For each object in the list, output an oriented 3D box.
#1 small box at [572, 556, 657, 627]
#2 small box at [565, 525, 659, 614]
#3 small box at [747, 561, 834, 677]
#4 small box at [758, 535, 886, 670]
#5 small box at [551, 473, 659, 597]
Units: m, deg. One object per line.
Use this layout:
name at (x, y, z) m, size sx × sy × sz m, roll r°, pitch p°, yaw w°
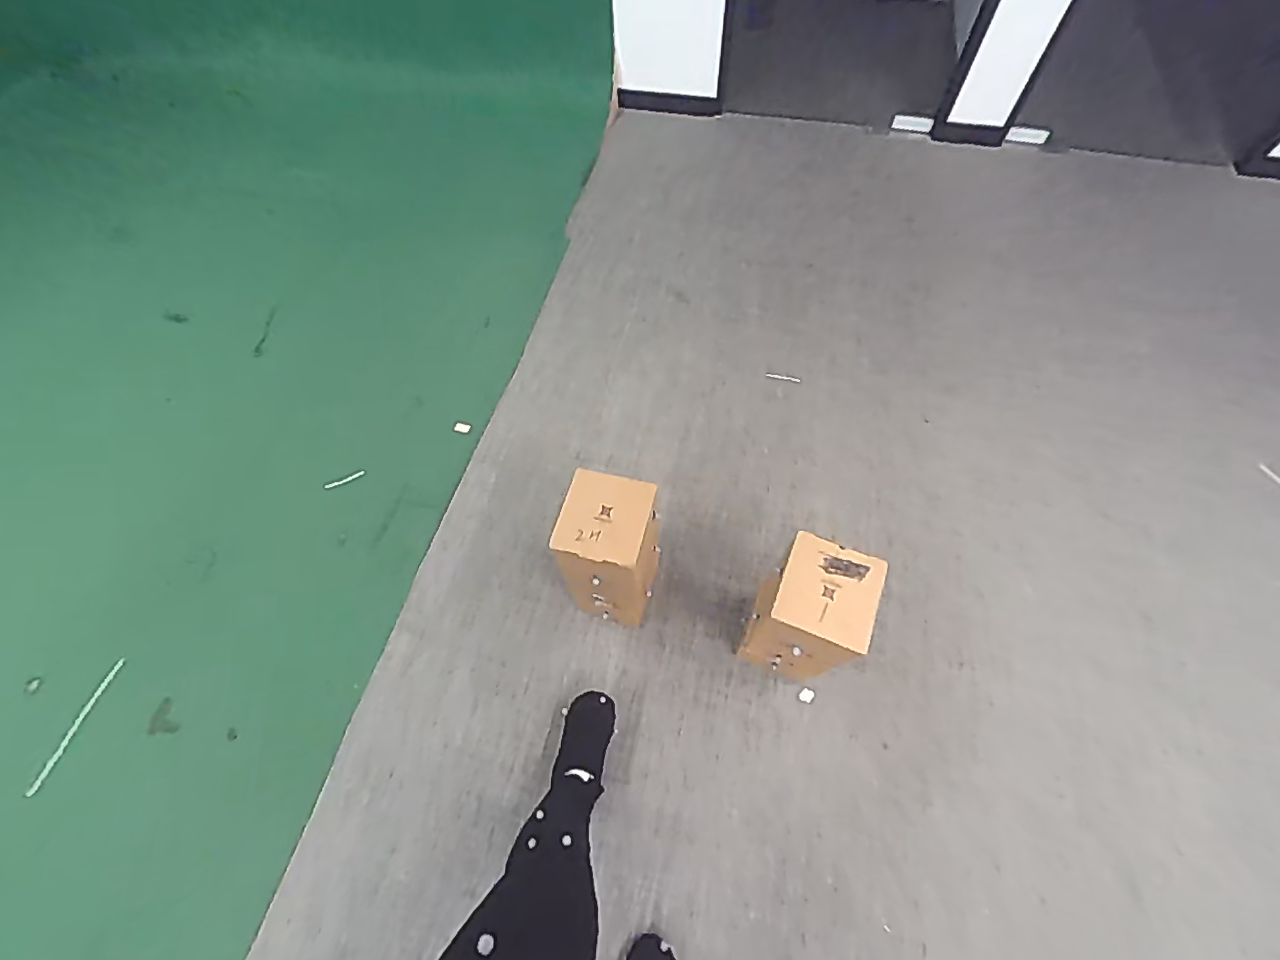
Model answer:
small box at (-0.055, 0.259, 1.378) m, size 0.168 × 0.176 × 0.179 m, roll 16°, pitch 65°, yaw 10°
small box at (-0.058, 0.186, 1.232) m, size 0.168 × 0.176 × 0.179 m, roll 12°, pitch 65°, yaw 9°
small box at (0.338, 0.302, 1.159) m, size 0.168 × 0.176 × 0.179 m, roll 19°, pitch 65°, yaw 11°
small box at (0.330, 0.234, 1.009) m, size 0.168 × 0.176 × 0.179 m, roll 21°, pitch 67°, yaw 12°
small box at (-0.062, 0.114, 1.084) m, size 0.168 × 0.176 × 0.179 m, roll 12°, pitch 64°, yaw 10°
